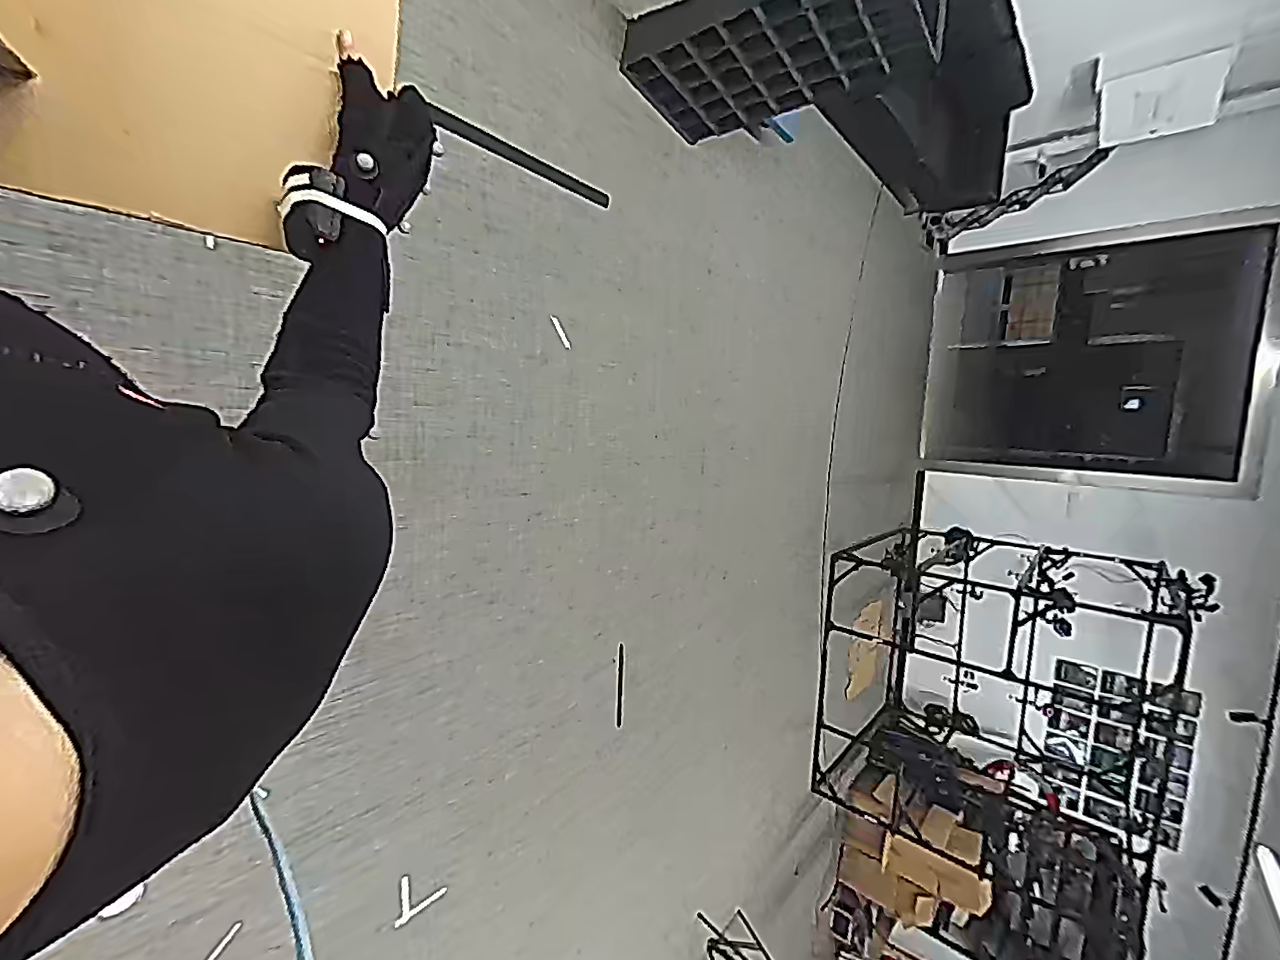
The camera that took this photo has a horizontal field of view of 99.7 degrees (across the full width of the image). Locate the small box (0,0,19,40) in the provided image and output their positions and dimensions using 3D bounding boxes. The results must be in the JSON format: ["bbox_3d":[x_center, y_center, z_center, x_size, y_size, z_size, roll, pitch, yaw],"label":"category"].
[{"bbox_3d":[-0.428,-0.341,0.245,0.179,0.176,0.168,0,107,-39],"label":"small box"}]
